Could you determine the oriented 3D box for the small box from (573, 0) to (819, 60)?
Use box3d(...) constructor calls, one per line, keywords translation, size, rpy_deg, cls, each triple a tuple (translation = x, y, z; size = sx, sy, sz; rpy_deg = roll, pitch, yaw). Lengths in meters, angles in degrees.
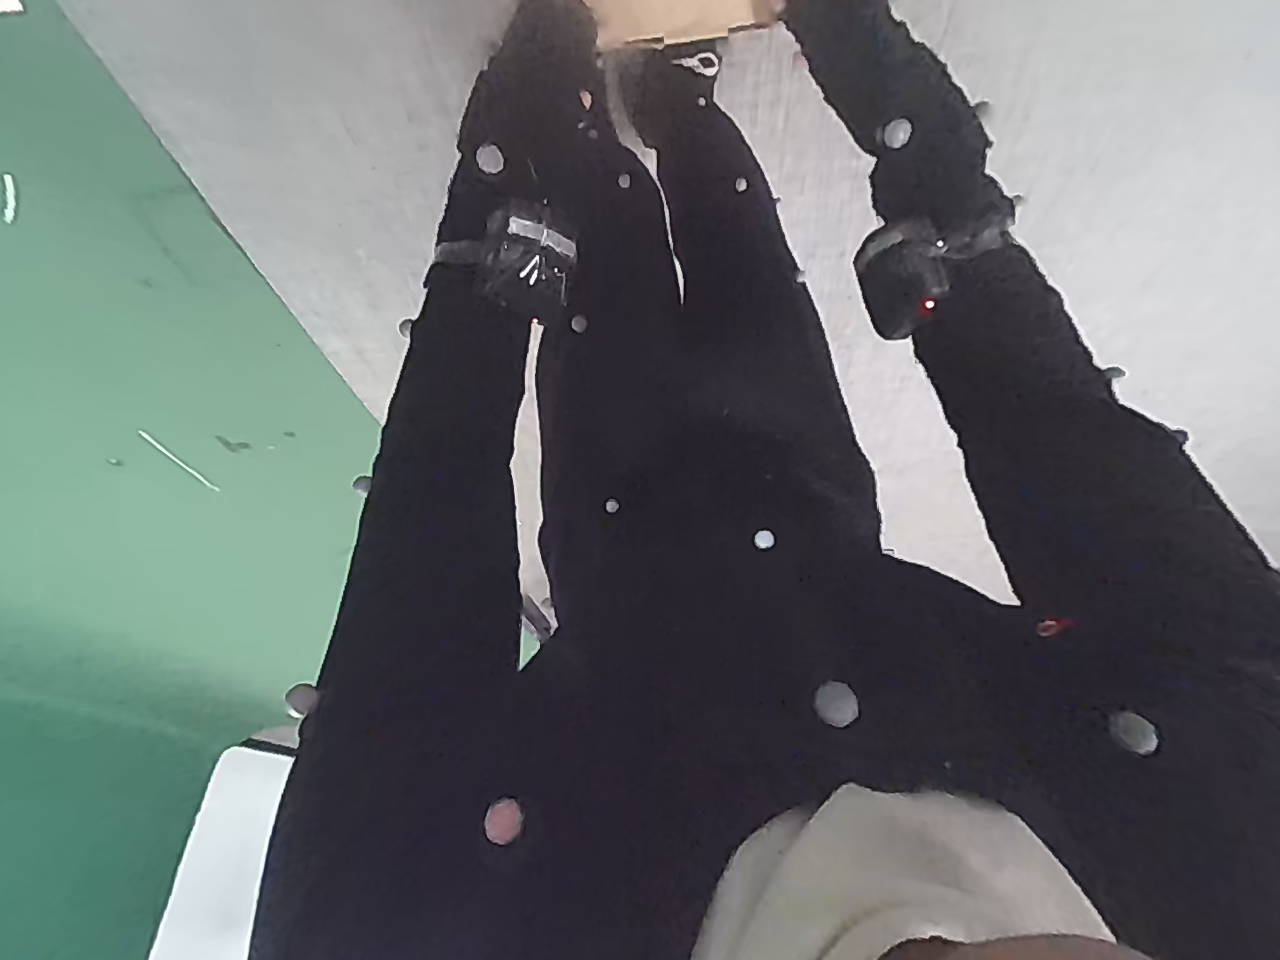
box3d(translation=(0.022, -0.418, 0.369), size=(0.168, 0.176, 0.179), rpy_deg=(-11, 130, 3), cls="small box")
